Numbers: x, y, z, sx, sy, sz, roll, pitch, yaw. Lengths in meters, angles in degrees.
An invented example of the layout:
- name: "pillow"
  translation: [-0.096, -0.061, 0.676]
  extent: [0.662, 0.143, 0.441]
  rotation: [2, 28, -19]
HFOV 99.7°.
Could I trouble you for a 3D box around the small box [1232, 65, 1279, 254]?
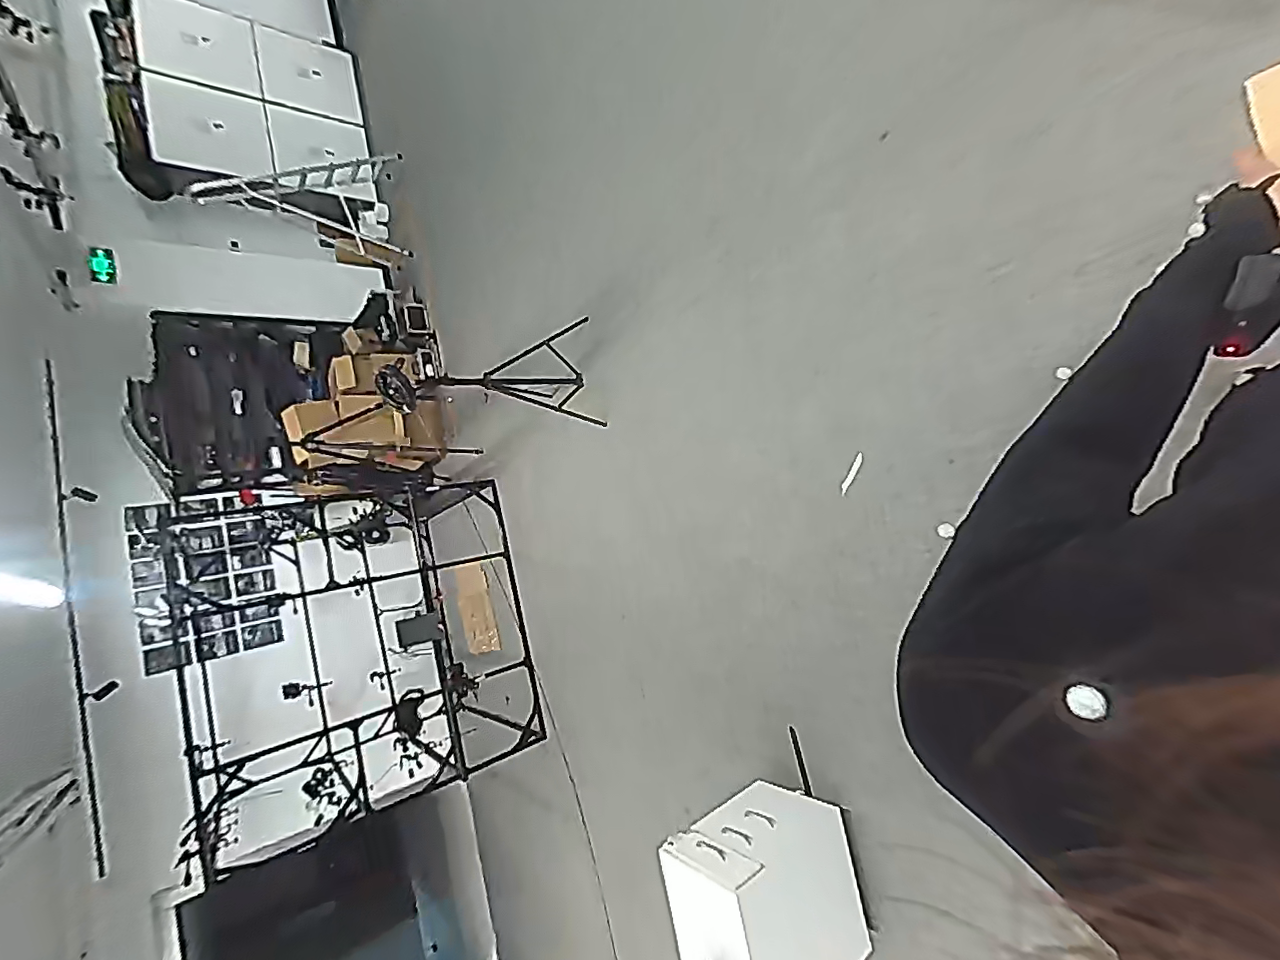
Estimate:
- name: "small box"
  translation: [0.688, -0.316, 0.488]
  extent: [0.179, 0.176, 0.168]
  rotation: [-12, 92, 53]
